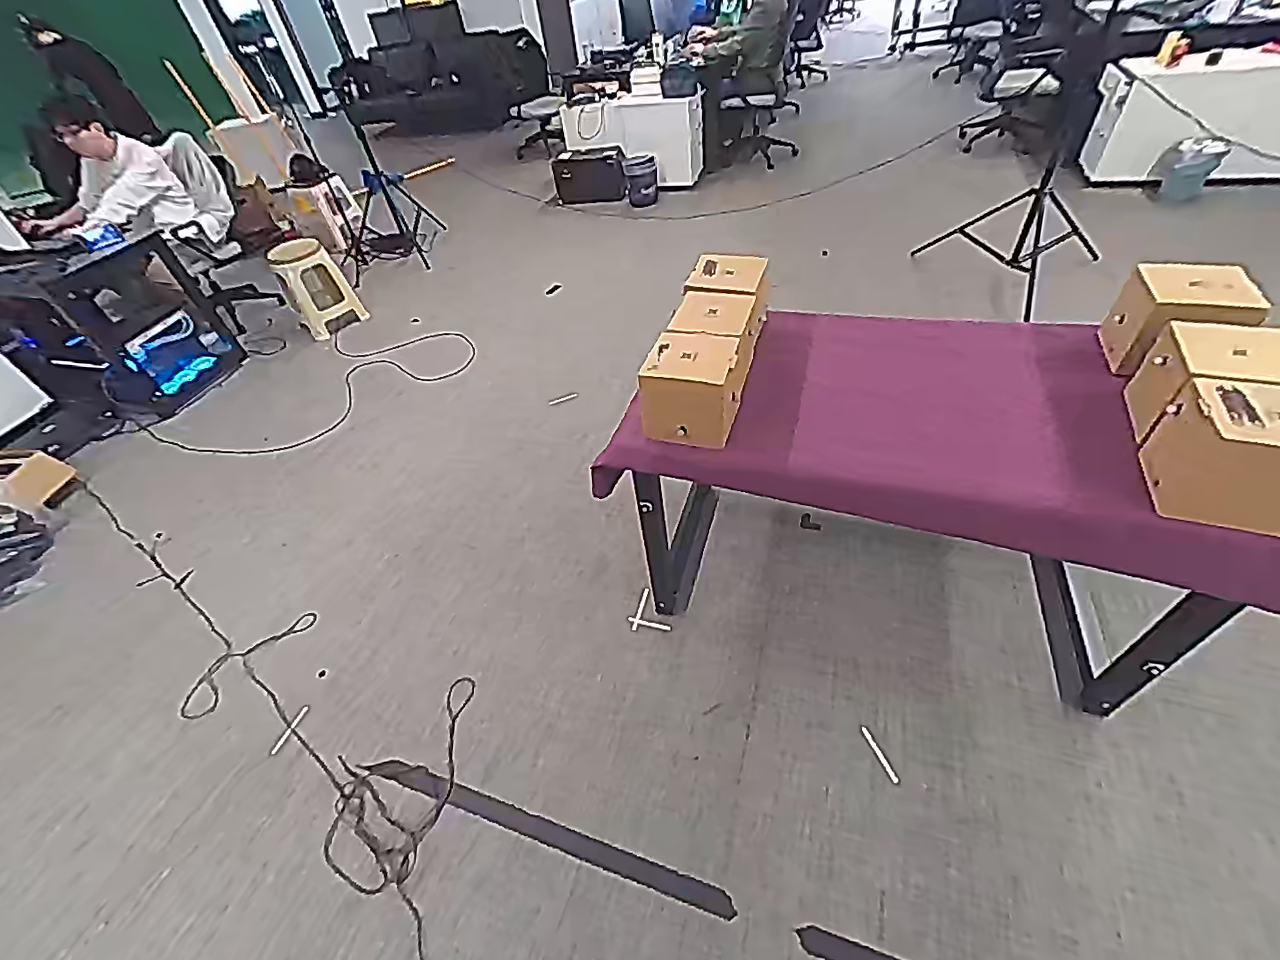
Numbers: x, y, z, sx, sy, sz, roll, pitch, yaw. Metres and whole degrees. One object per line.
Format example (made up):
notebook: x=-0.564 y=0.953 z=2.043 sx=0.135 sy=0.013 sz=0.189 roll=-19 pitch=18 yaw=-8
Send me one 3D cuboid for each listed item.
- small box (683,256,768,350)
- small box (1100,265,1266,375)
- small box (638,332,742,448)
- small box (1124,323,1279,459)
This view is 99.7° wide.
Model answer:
small box: x=0.219 y=-0.449 z=1.377 sx=0.179 sy=0.176 sz=0.168 roll=12 pitch=51 yaw=18
small box: x=1.094 y=-0.323 z=1.114 sx=0.179 sy=0.176 sz=0.168 roll=11 pitch=50 yaw=18
small box: x=0.110 y=-0.188 z=1.143 sx=0.179 sy=0.176 sz=0.168 roll=11 pitch=48 yaw=17
small box: x=1.024 y=-0.161 z=0.977 sx=0.168 sy=0.176 sz=0.179 roll=13 pitch=48 yaw=21
